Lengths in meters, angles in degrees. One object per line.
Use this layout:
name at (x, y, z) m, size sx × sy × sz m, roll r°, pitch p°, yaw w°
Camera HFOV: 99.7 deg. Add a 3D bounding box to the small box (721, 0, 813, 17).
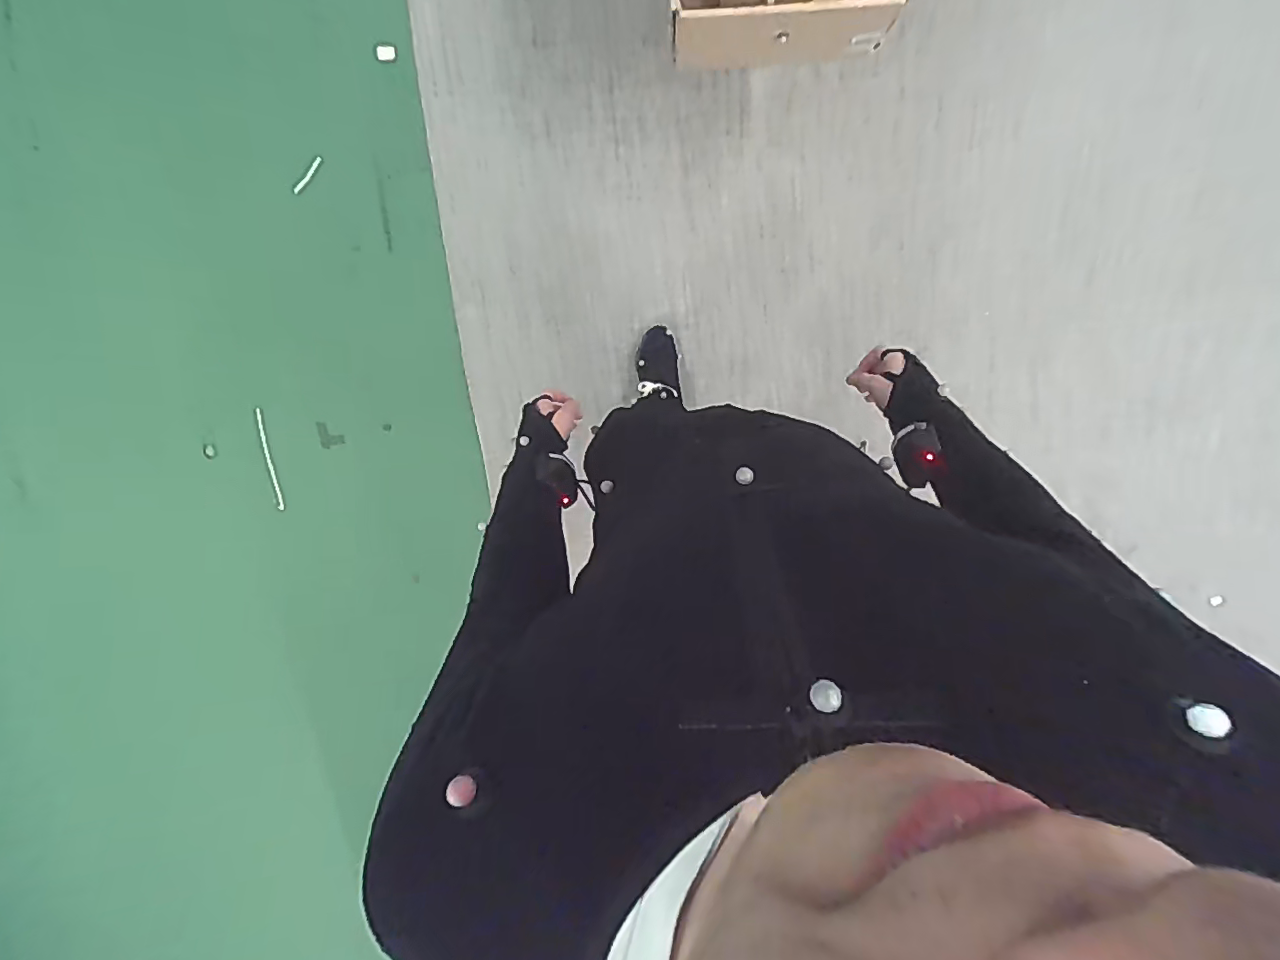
small box at (0.224, -0.921, 0.894) m, size 0.168 × 0.176 × 0.179 m, roll -2°, pitch 102°, yaw 3°
